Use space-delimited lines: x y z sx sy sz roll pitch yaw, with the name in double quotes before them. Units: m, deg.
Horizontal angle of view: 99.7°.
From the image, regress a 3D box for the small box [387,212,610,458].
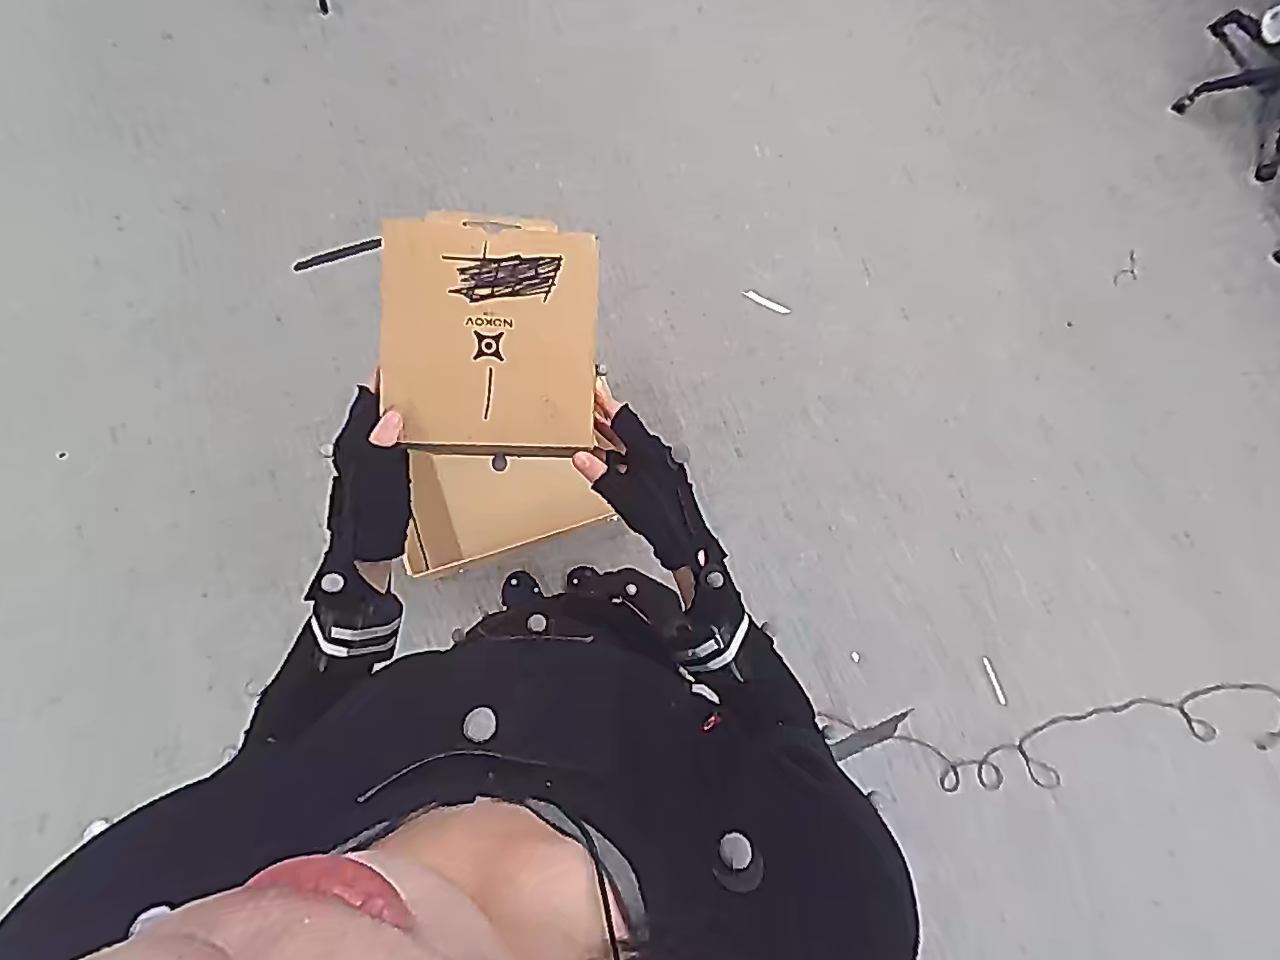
"small box" -0.119 -0.115 0.501 0.168 0.176 0.179 2 90 -7
